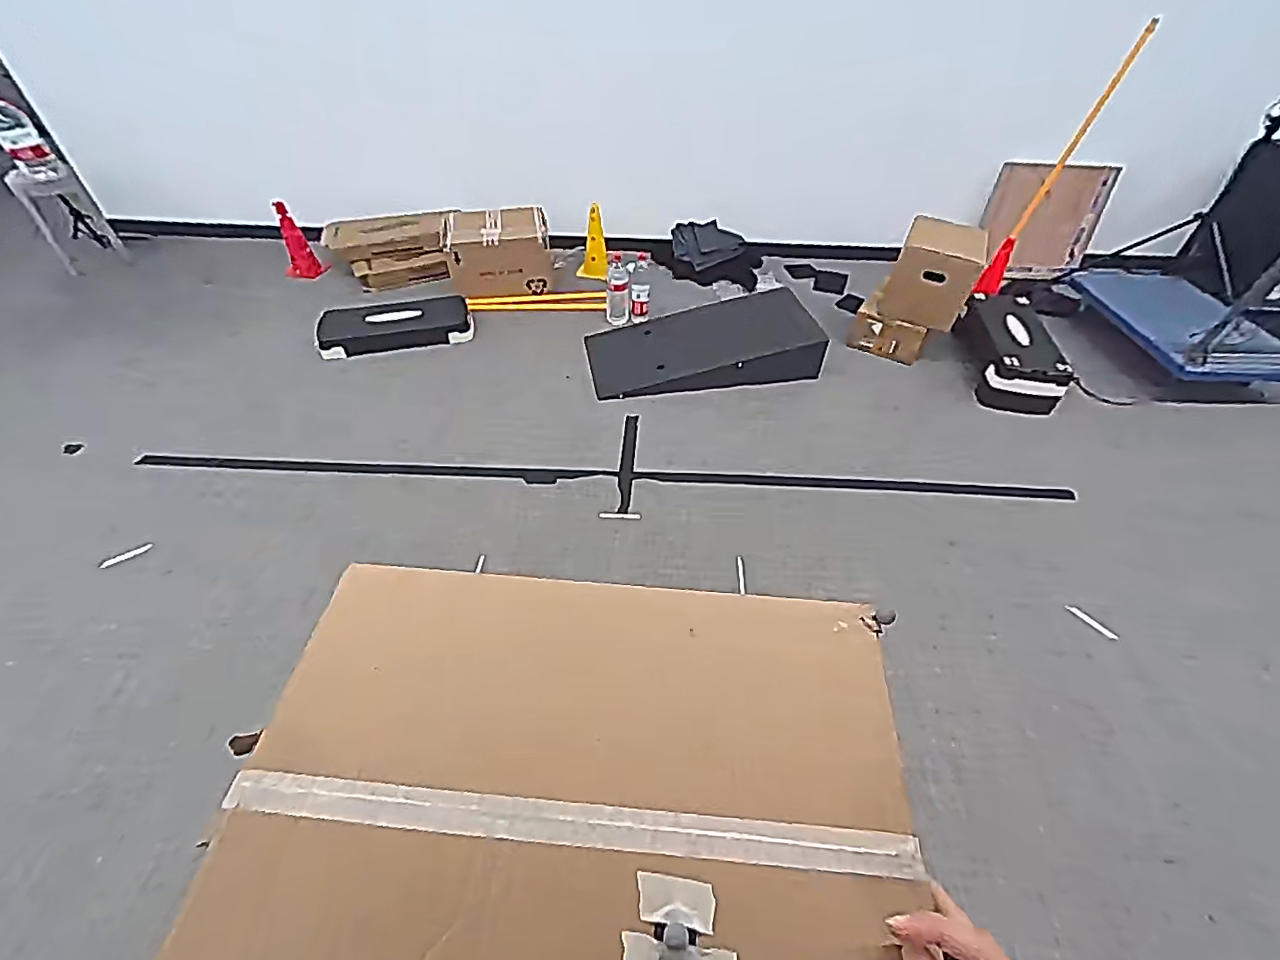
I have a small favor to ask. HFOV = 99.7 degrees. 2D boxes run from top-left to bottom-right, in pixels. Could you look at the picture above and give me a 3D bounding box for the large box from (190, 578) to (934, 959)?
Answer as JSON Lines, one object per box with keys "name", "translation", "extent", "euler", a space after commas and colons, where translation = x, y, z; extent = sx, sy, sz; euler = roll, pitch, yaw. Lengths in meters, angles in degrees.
{"name": "large box", "translation": [-0.038, 0.301, 0.443], "extent": [0.408, 0.320, 0.320], "euler": [4, 52, 3]}
